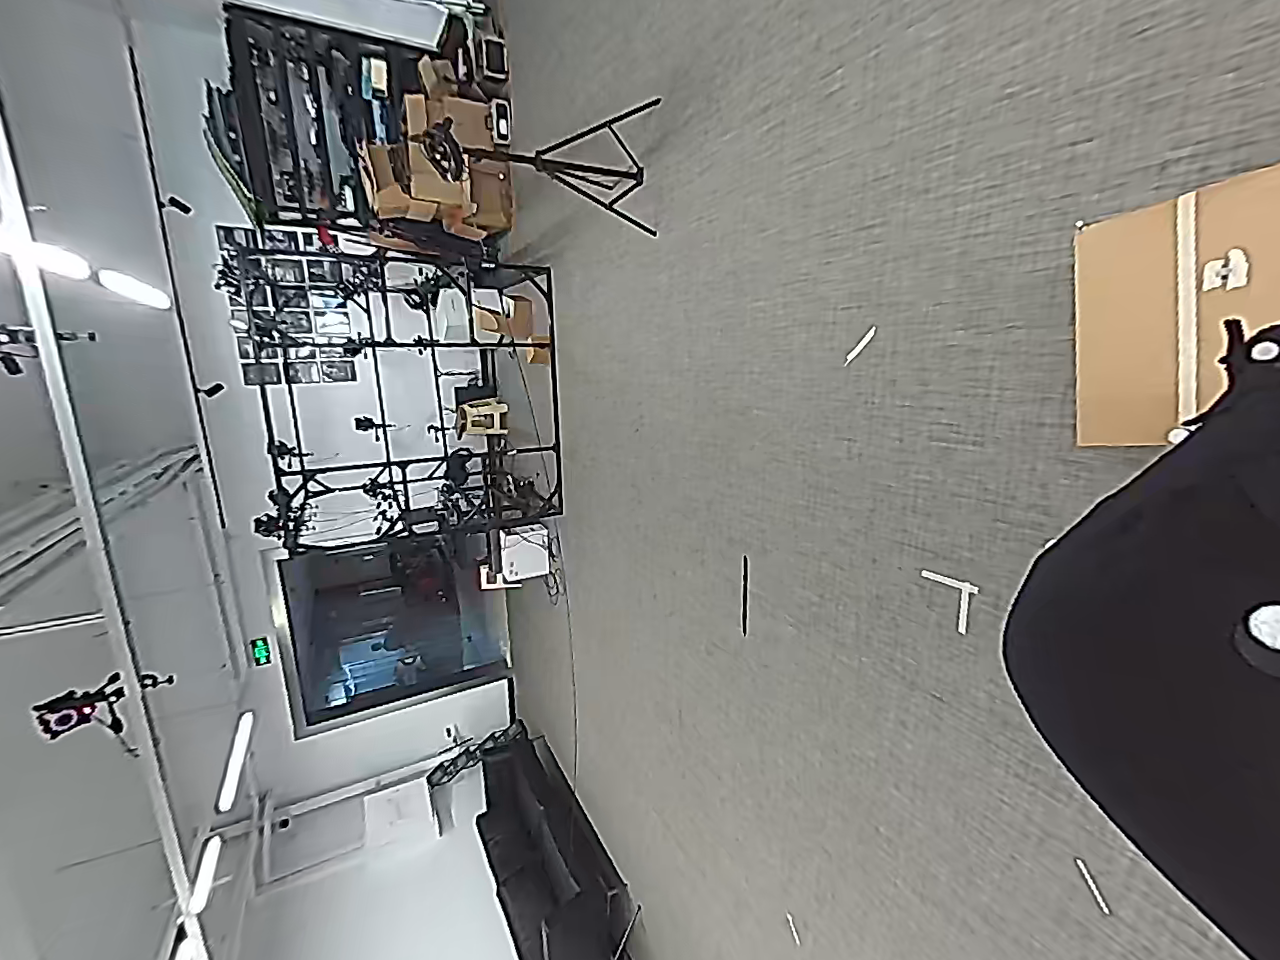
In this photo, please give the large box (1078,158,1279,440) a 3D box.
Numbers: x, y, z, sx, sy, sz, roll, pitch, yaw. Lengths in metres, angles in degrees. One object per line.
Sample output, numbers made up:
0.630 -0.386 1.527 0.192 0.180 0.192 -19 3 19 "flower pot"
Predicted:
1.025 -0.283 0.939 0.320 0.320 0.408 4 100 62 "large box"
